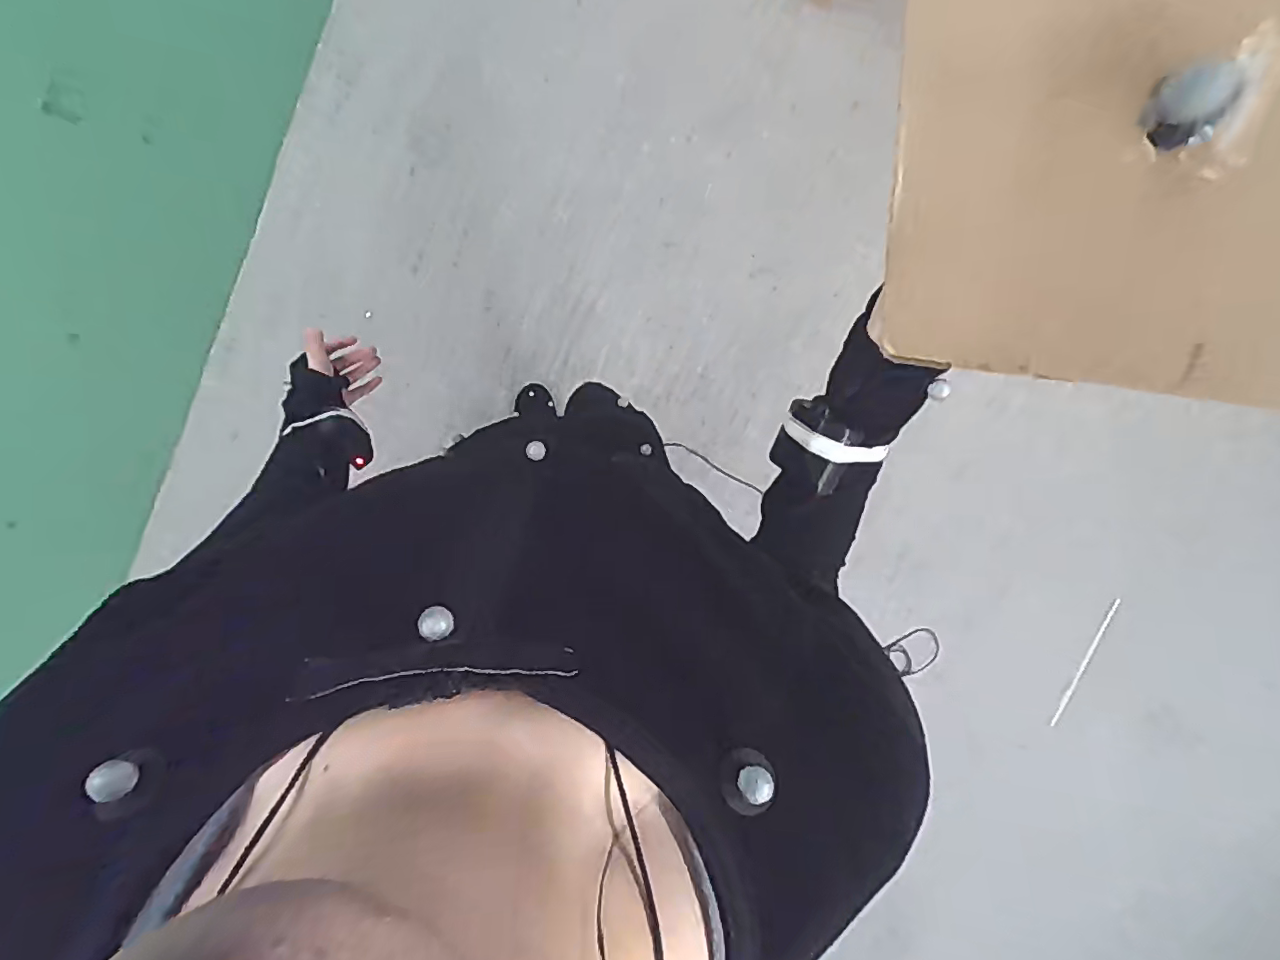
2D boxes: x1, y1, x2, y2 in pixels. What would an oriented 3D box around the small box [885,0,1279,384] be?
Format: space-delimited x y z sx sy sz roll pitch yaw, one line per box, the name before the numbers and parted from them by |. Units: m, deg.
small box | 0.213 -0.149 0.197 0.179 0.168 0.176 -32 128 -32
